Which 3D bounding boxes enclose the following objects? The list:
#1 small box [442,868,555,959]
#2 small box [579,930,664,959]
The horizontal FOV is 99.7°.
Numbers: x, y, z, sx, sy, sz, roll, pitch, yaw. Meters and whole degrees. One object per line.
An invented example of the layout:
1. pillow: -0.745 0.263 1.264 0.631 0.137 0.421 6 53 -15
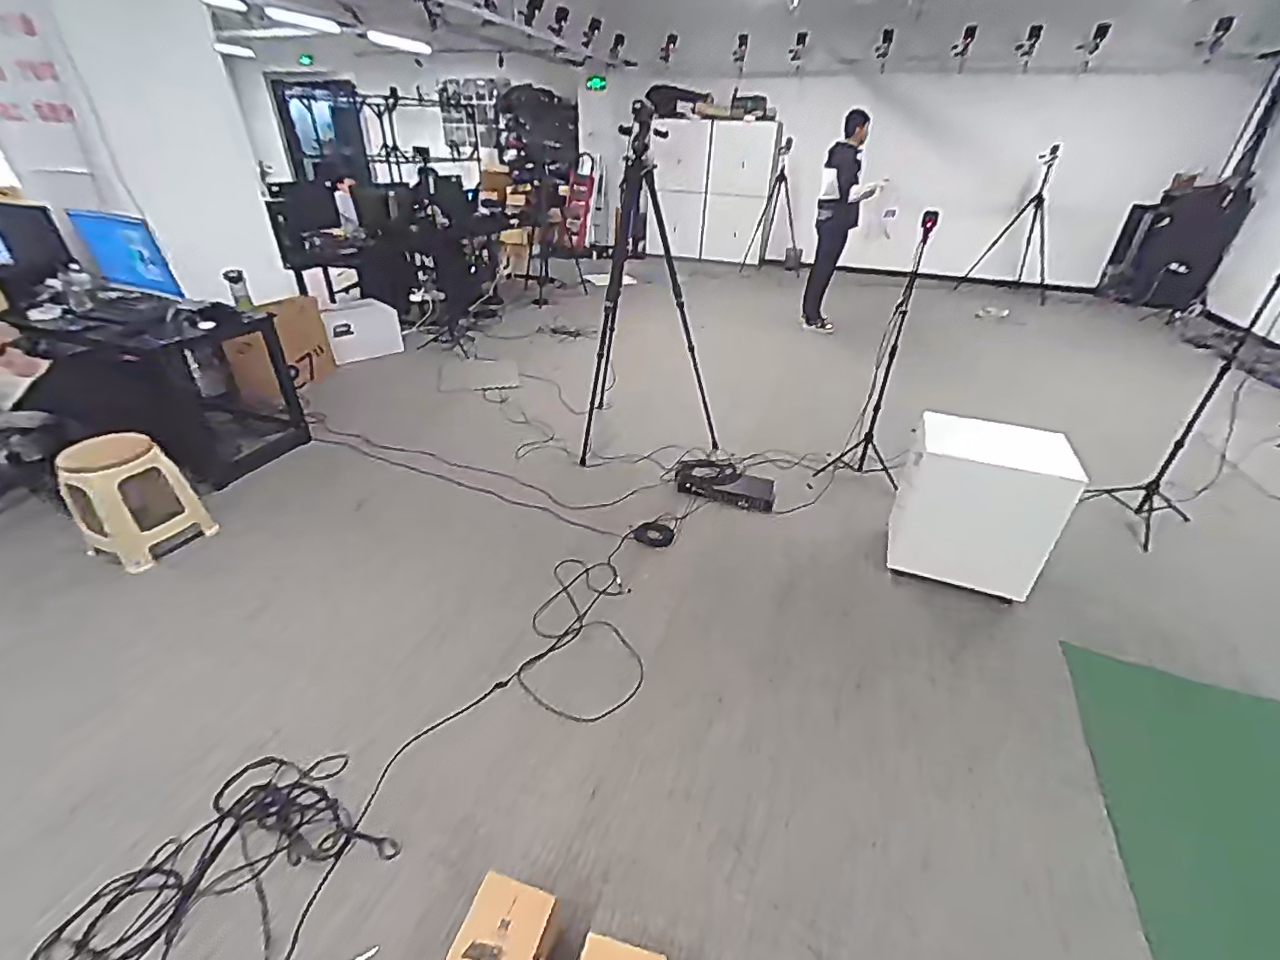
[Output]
1. small box: -0.287 0.978 1.140 0.168 0.176 0.179 11 32 14
2. small box: -0.054 1.041 1.057 0.168 0.176 0.179 9 34 12
